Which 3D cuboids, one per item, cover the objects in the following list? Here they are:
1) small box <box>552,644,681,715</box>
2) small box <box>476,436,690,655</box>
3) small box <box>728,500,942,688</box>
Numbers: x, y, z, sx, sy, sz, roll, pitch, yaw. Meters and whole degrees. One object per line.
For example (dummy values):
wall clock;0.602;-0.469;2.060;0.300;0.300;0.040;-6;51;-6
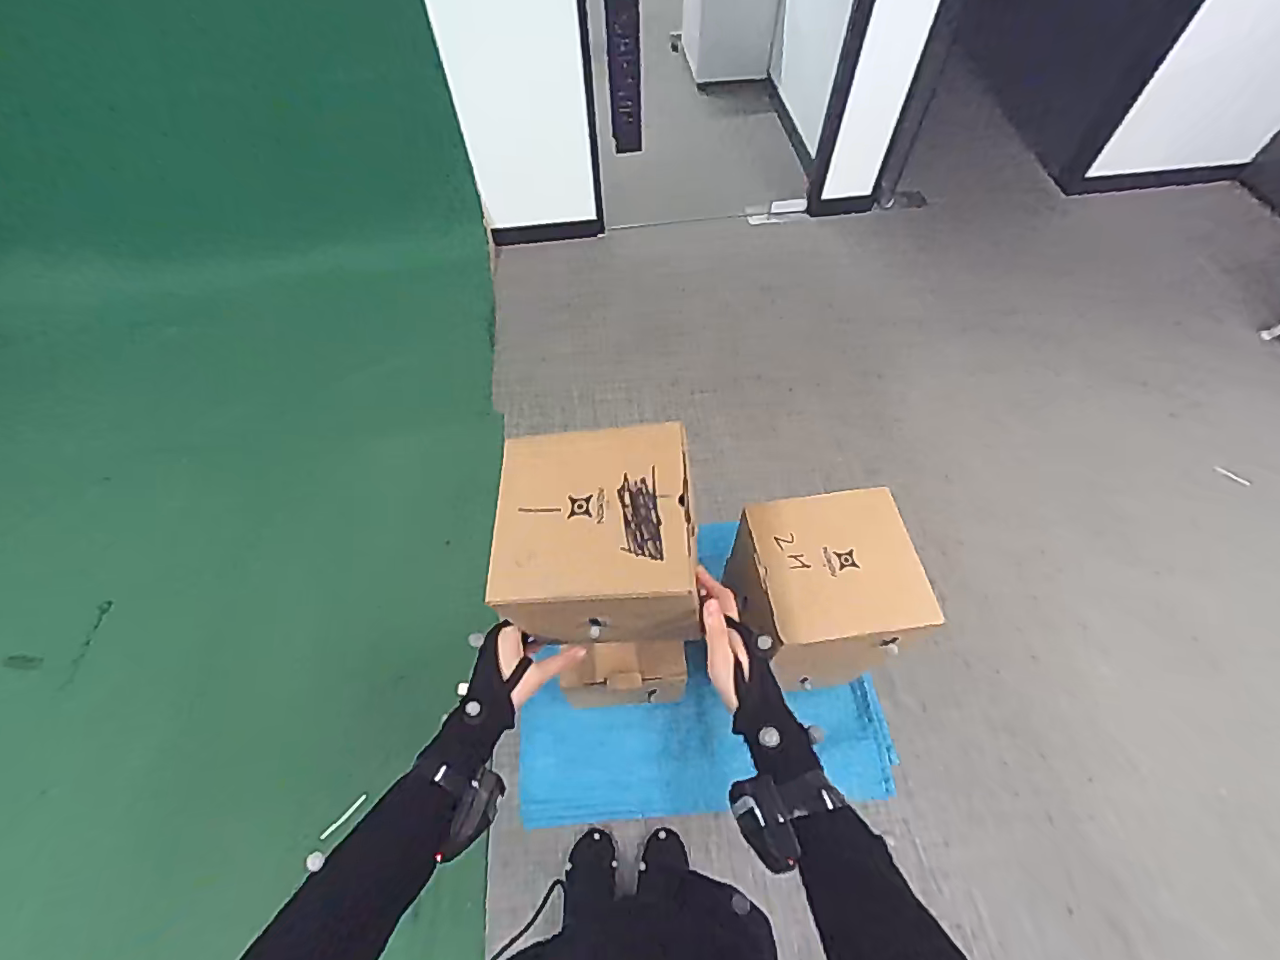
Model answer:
small box;-0.032;0.238;0.787;0.168;0.176;0.179;-2;57;-2
small box;-0.040;0.074;0.548;0.179;0.176;0.168;-5;58;7
small box;0.213;0.141;0.648;0.179;0.176;0.168;-6;57;-2
